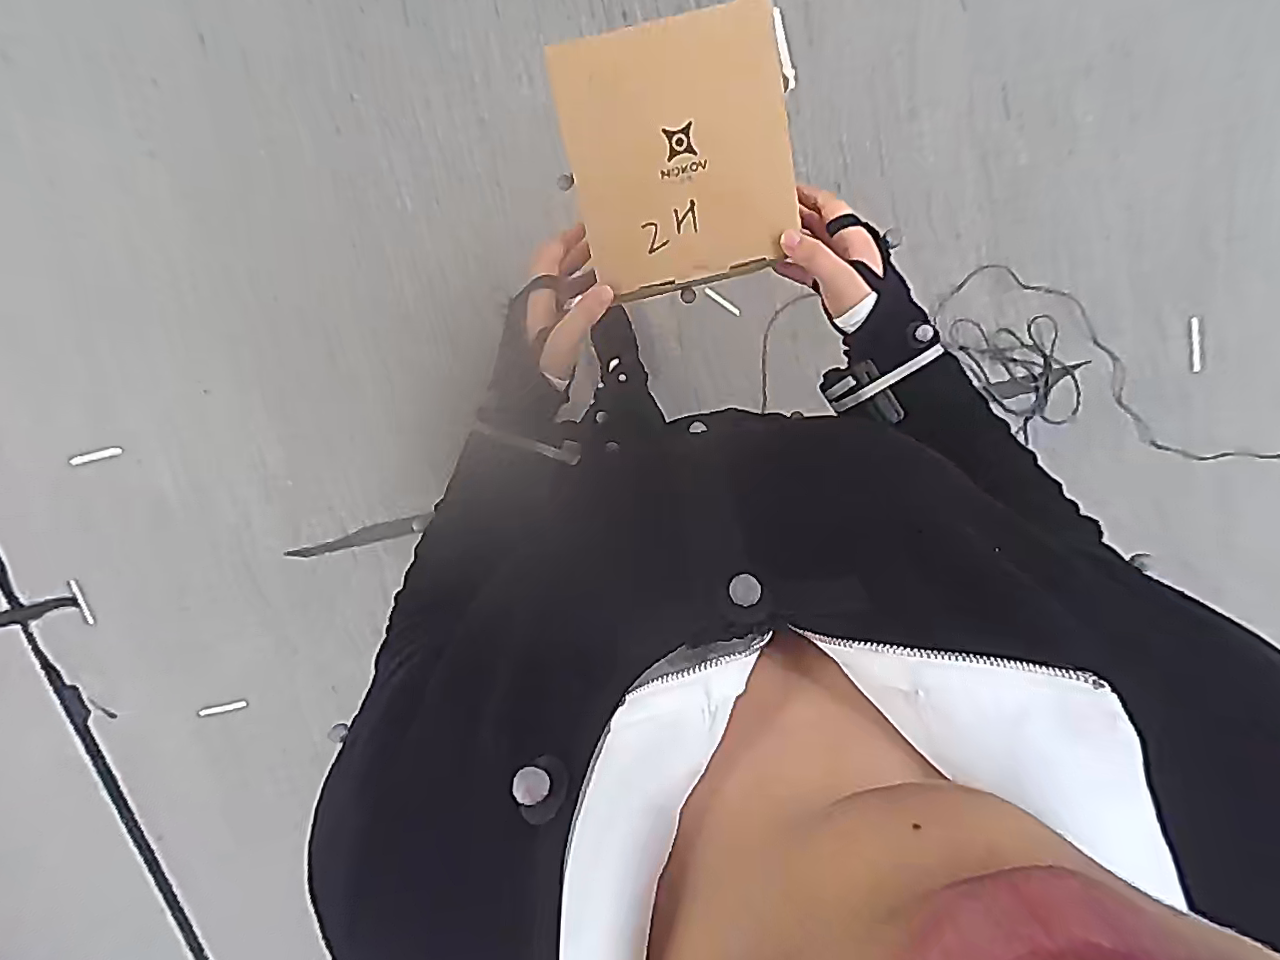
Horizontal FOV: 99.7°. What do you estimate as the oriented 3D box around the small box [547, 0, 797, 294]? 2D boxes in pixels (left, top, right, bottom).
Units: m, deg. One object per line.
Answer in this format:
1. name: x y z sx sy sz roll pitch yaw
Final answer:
1. small box: 0.026 -0.277 0.483 0.168 0.176 0.179 -12 105 3
